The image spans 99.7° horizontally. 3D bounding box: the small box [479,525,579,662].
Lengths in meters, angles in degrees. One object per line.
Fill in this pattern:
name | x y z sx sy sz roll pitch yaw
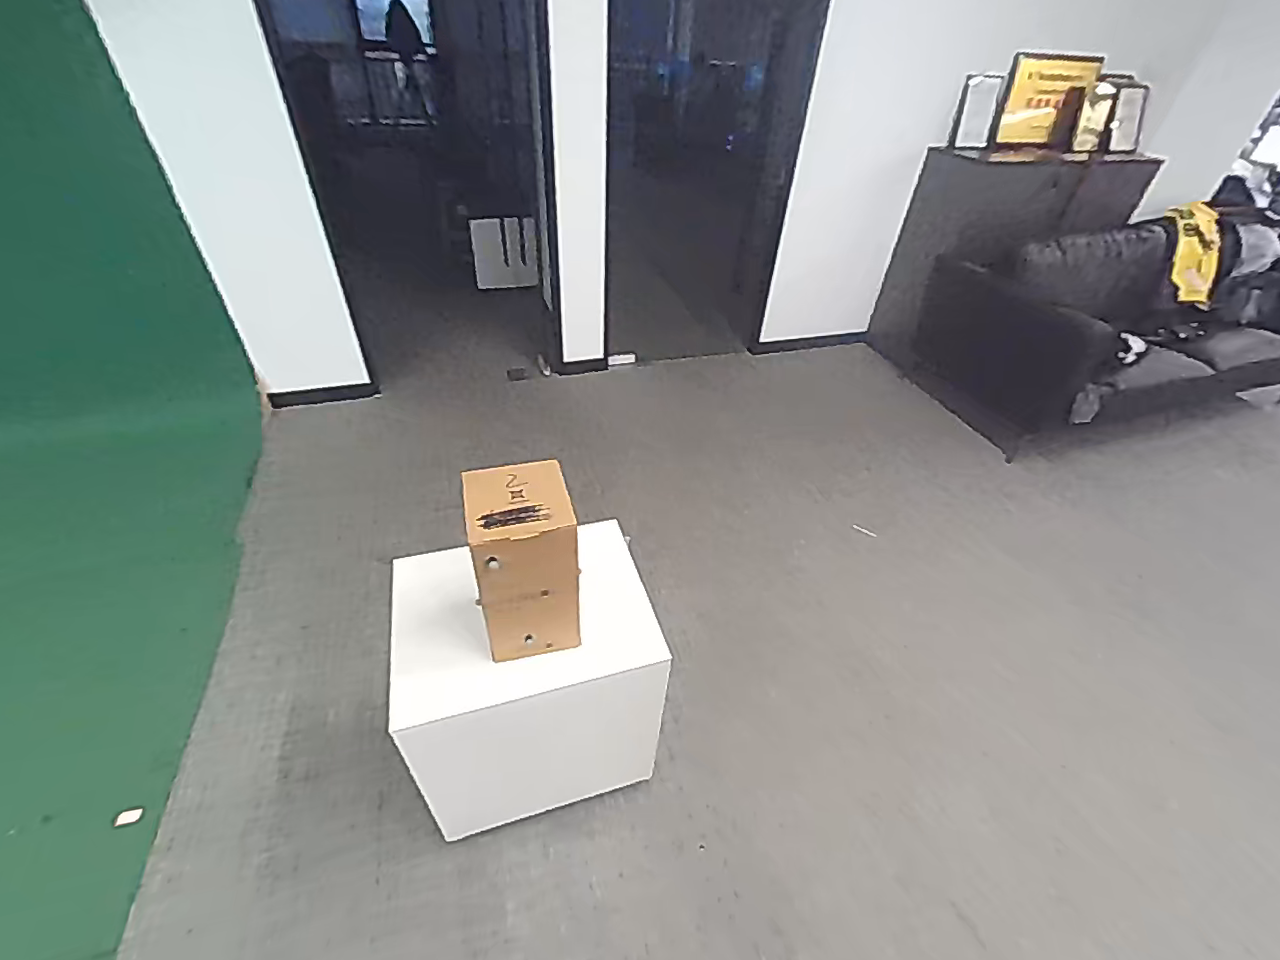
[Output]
small box | -0.211 0.213 1.027 0.168 0.176 0.179 -8 40 -14
